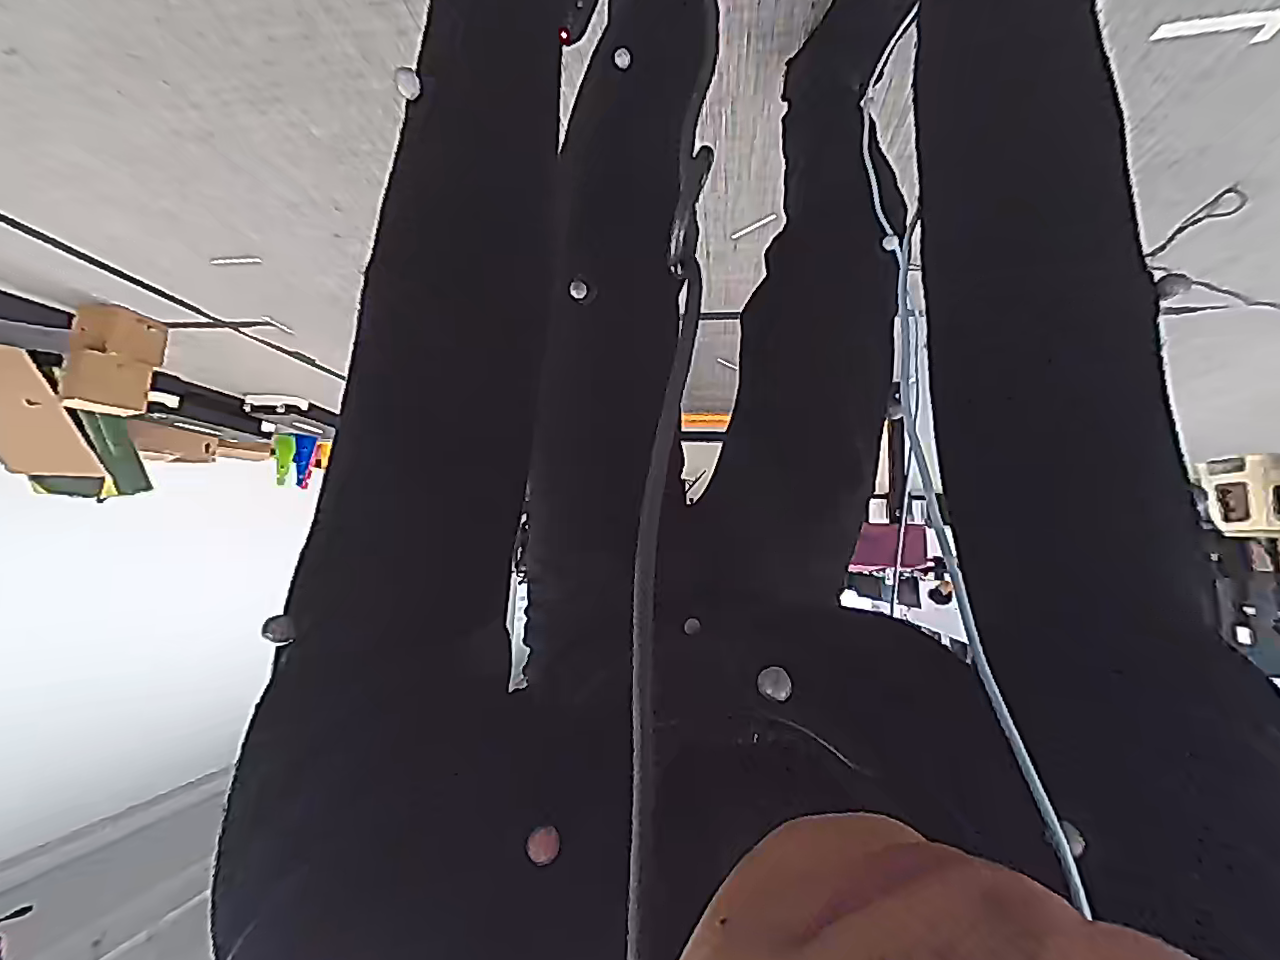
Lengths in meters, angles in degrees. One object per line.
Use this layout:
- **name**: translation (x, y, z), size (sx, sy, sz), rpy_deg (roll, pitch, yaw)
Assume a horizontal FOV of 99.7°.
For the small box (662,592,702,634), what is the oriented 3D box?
- **small box**: translation (0.185, 0.564, 2.346), size (0.168, 0.176, 0.179), rpy_deg (1, 172, 7)
